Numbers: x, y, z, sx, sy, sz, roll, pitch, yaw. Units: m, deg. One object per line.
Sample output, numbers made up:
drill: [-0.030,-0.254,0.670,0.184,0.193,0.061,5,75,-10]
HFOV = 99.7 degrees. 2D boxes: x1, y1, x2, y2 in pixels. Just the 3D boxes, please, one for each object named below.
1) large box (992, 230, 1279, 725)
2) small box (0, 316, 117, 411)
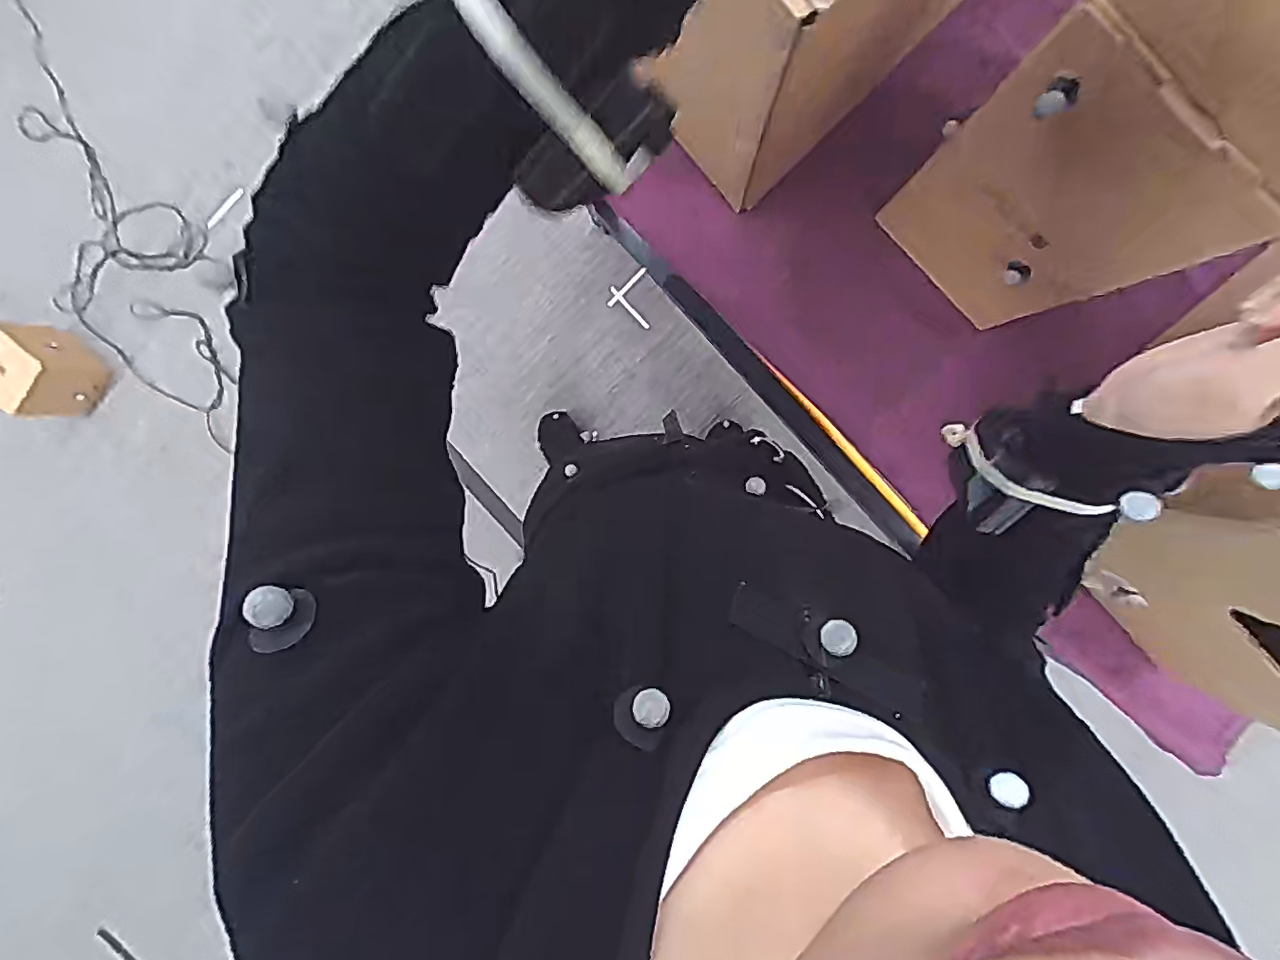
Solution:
large box: [0.625,-0.013,0.448,0.408,0.320,0.320,-43,92,6]
small box: [-1.547,-0.293,1.408,0.179,0.176,0.168,41,99,-1]
